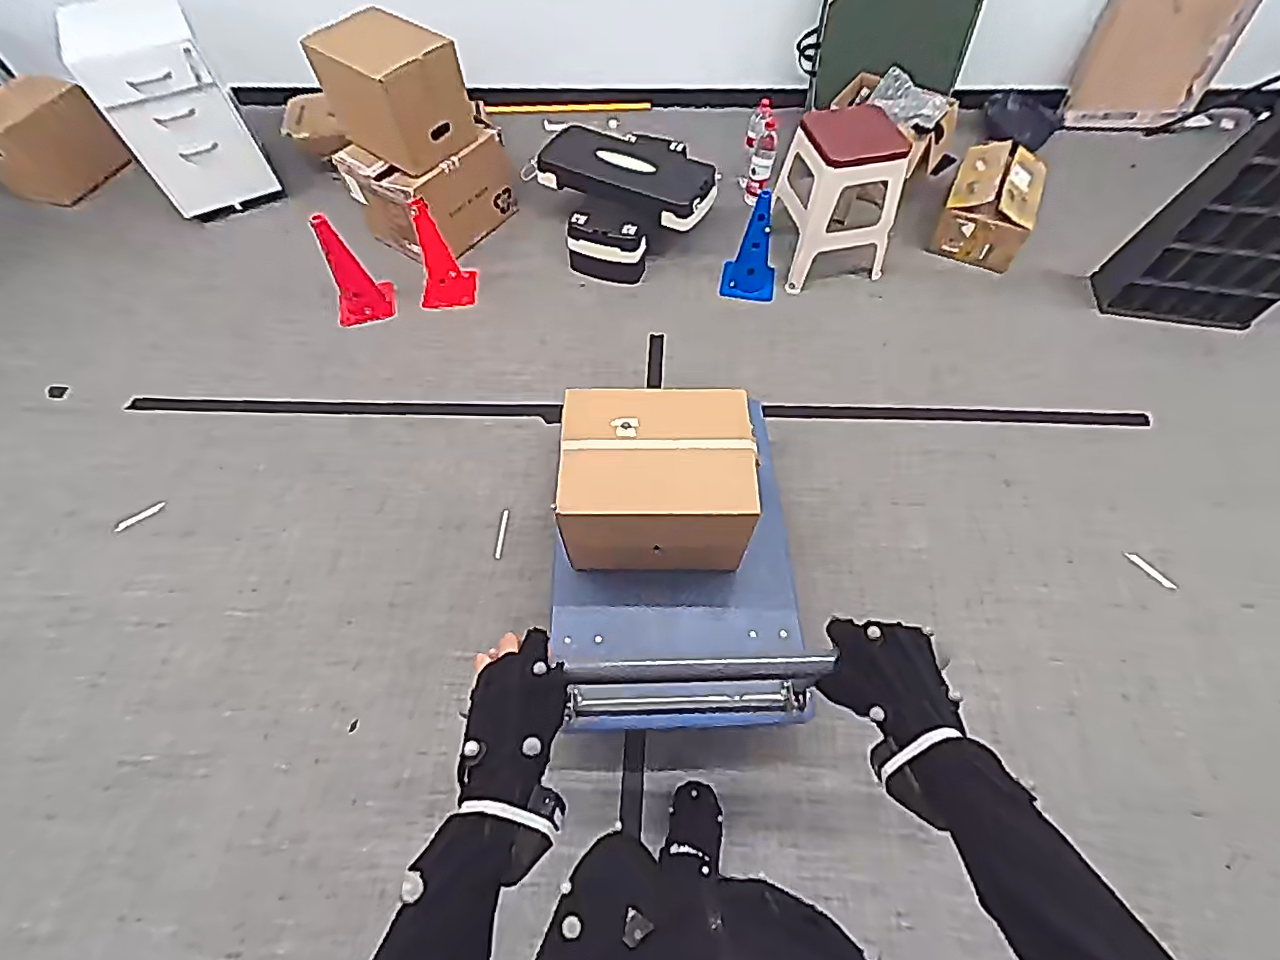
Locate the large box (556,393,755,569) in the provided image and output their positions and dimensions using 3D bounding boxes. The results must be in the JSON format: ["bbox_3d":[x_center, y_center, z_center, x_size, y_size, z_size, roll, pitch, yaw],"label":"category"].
[{"bbox_3d":[0.034,0.015,1.273,0.408,0.320,0.320,-1,60,1],"label":"large box"}]
